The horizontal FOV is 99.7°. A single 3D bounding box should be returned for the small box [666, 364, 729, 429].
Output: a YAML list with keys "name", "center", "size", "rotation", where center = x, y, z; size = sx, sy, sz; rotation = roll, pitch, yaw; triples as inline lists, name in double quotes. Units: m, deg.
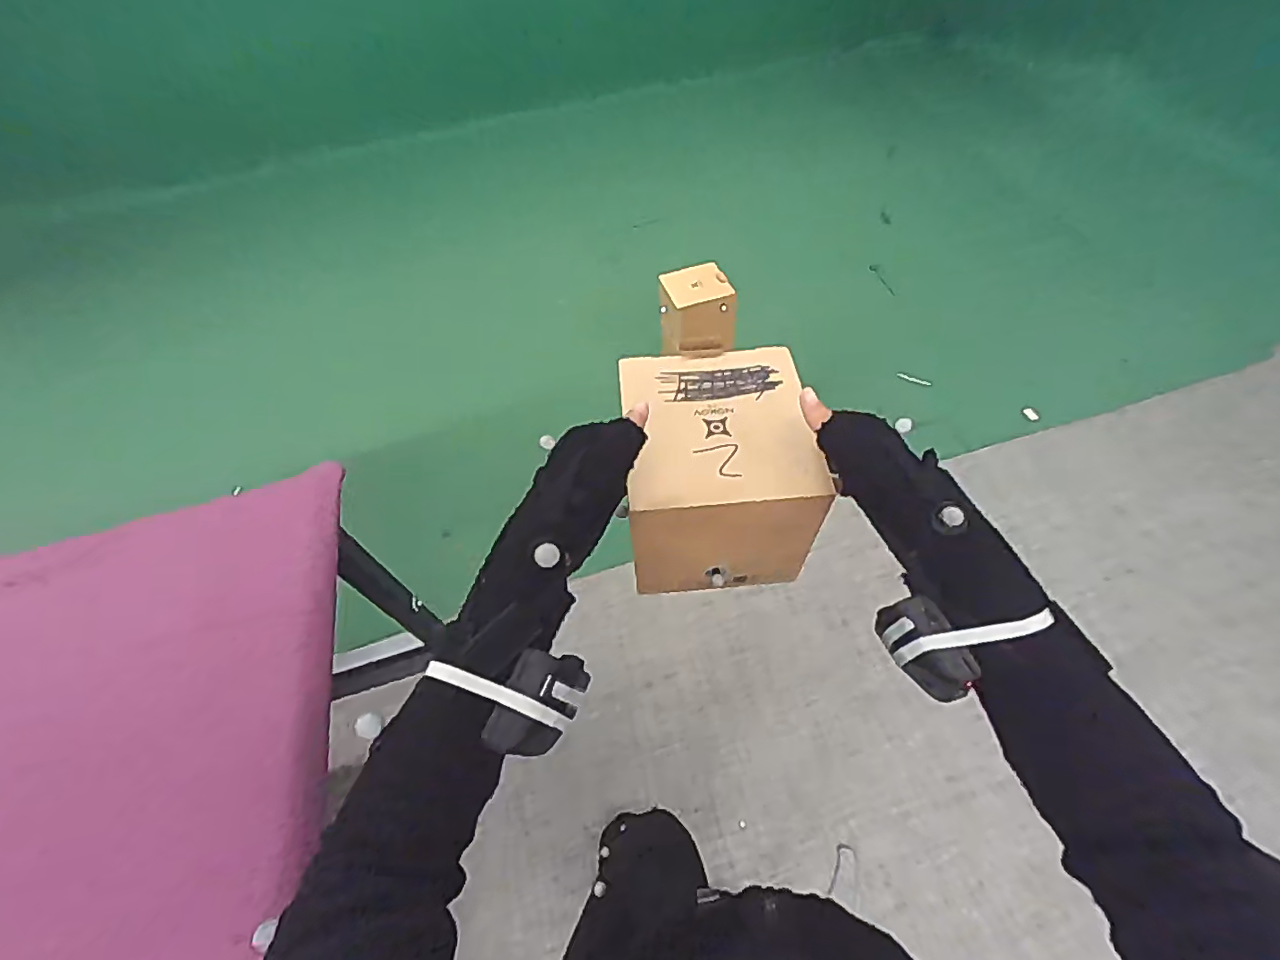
- name: "small box"
  center: [0.194, -0.305, 1.859]
  size: [0.168, 0.176, 0.179]
  rotation: [-17, 55, -6]

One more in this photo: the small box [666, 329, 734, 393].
- name: "small box"
  center: [0.185, -0.405, 1.726]
  size: [0.179, 0.176, 0.168]
  rotation: [-15, 53, -6]

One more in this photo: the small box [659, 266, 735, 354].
- name: "small box"
  center: [0.168, -0.497, 1.596]
  size: [0.179, 0.176, 0.168]
  rotation: [-17, 54, -7]
